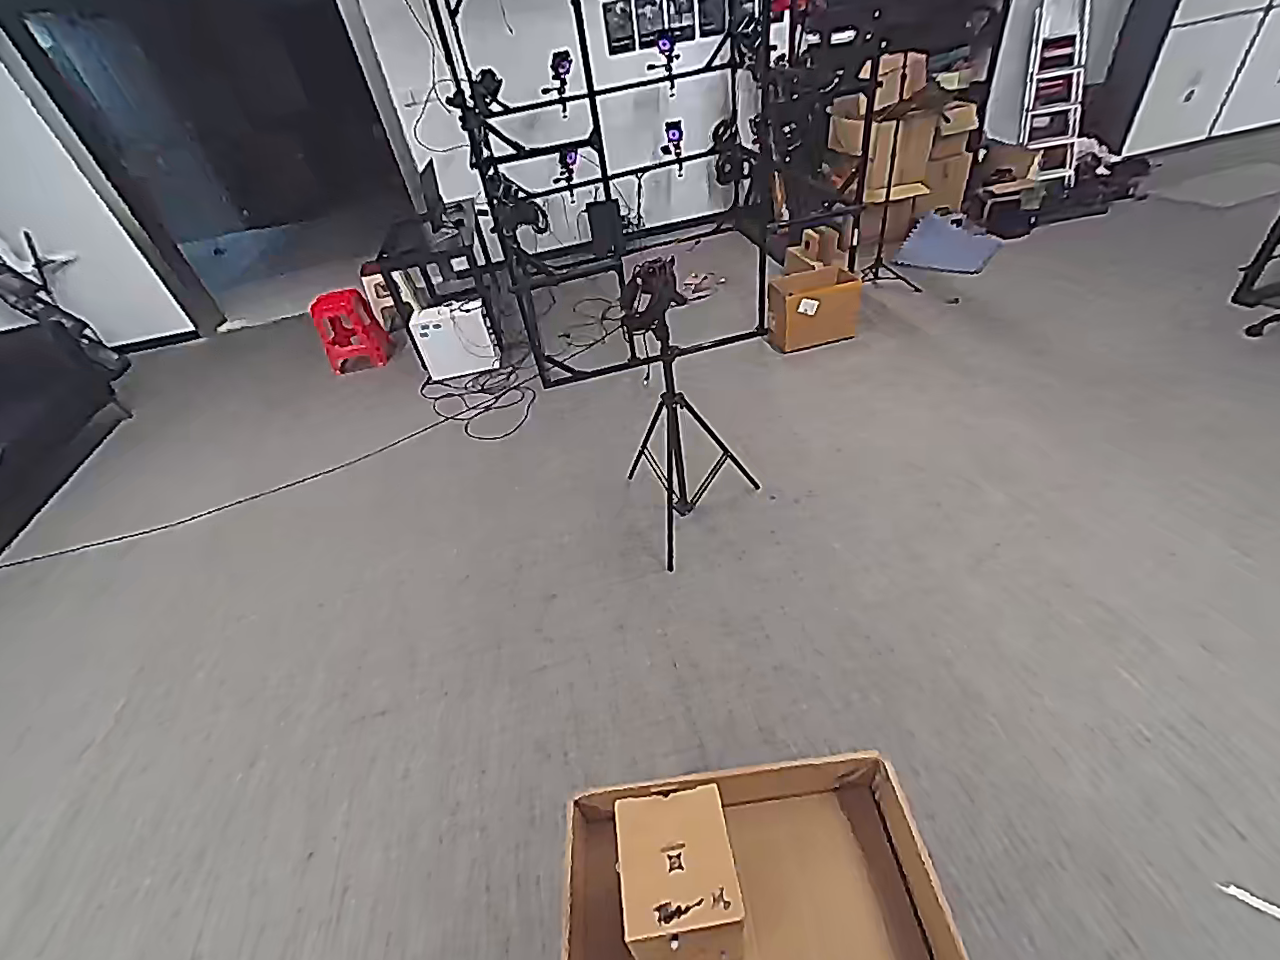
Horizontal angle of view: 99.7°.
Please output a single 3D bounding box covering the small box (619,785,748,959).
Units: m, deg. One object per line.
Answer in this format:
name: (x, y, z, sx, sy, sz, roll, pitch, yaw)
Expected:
small box: (0.063, 0.606, 0.832, 0.168, 0.176, 0.179, -9, 39, -1)
